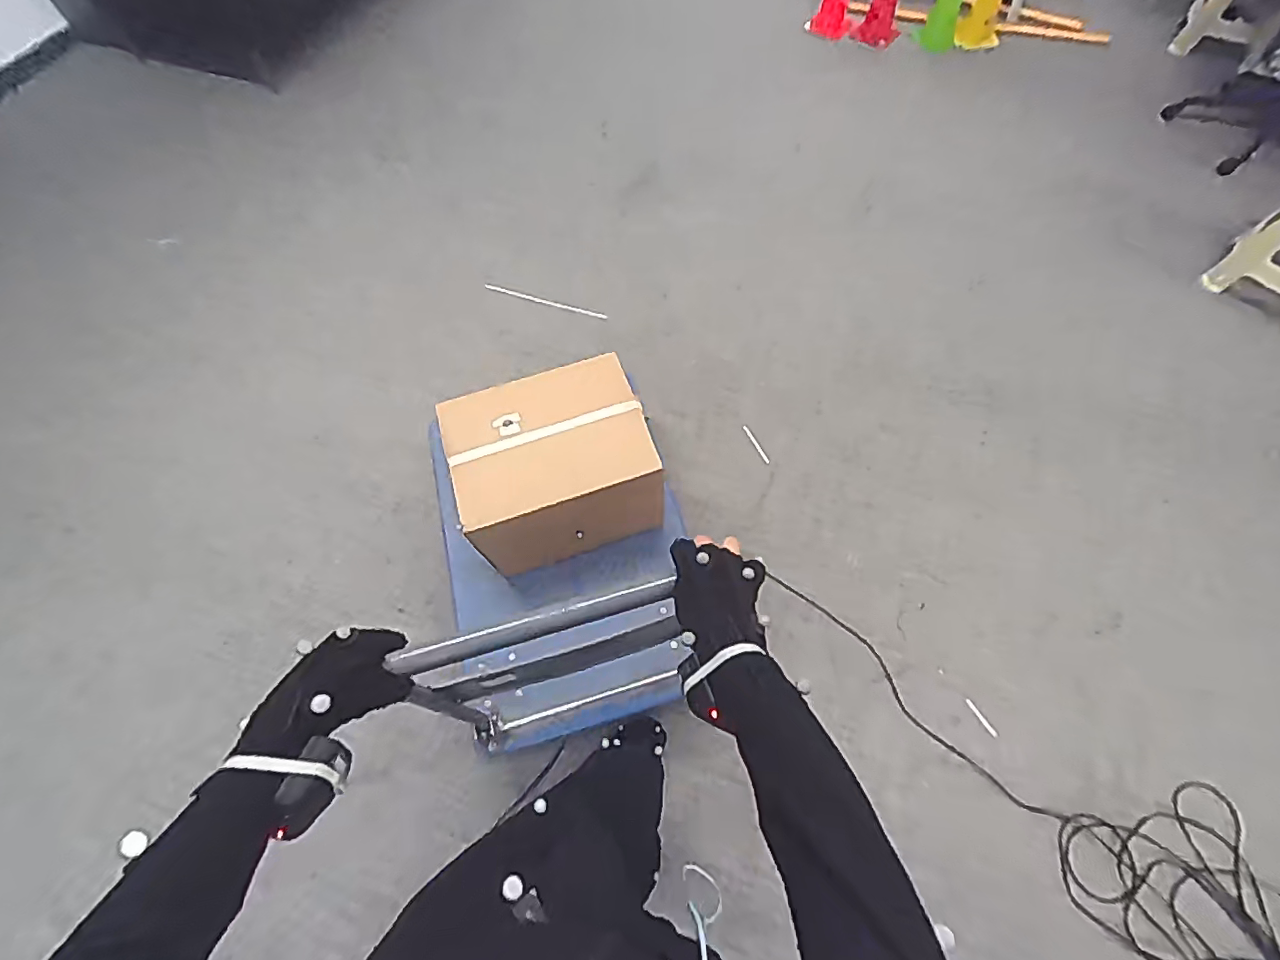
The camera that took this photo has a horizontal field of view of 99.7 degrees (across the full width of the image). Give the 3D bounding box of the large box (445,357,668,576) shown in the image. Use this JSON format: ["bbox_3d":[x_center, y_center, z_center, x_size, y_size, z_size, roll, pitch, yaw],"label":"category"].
[{"bbox_3d":[-0.174,-0.019,1.245,0.408,0.320,0.320,-19,64,-6],"label":"large box"}]
